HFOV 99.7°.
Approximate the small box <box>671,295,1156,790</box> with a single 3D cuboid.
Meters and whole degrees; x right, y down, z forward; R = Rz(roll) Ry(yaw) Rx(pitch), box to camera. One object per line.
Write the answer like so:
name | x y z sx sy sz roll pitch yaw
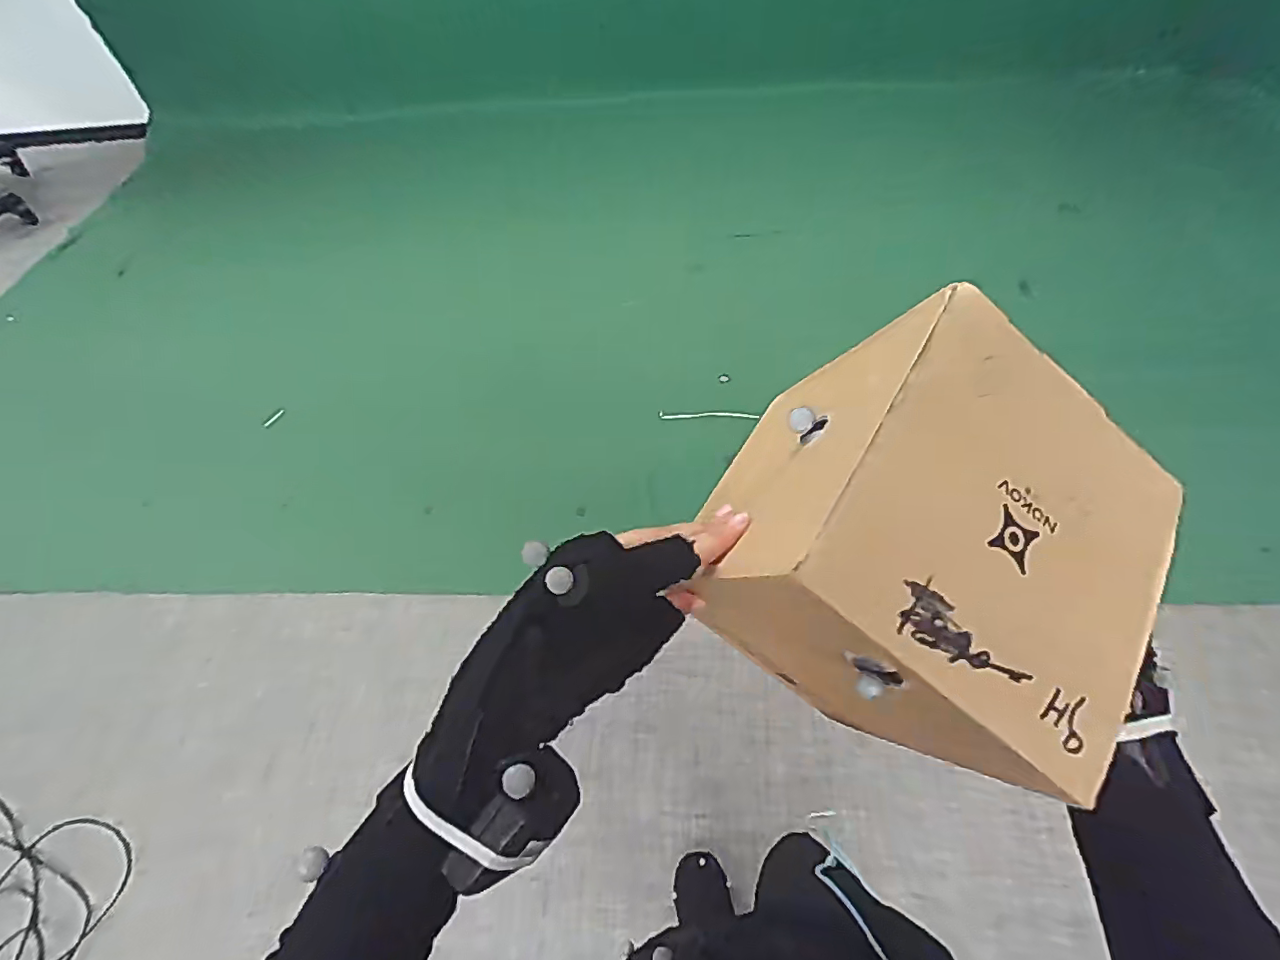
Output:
small box | 0.143 0.035 0.327 0.168 0.176 0.179 38 71 -5
